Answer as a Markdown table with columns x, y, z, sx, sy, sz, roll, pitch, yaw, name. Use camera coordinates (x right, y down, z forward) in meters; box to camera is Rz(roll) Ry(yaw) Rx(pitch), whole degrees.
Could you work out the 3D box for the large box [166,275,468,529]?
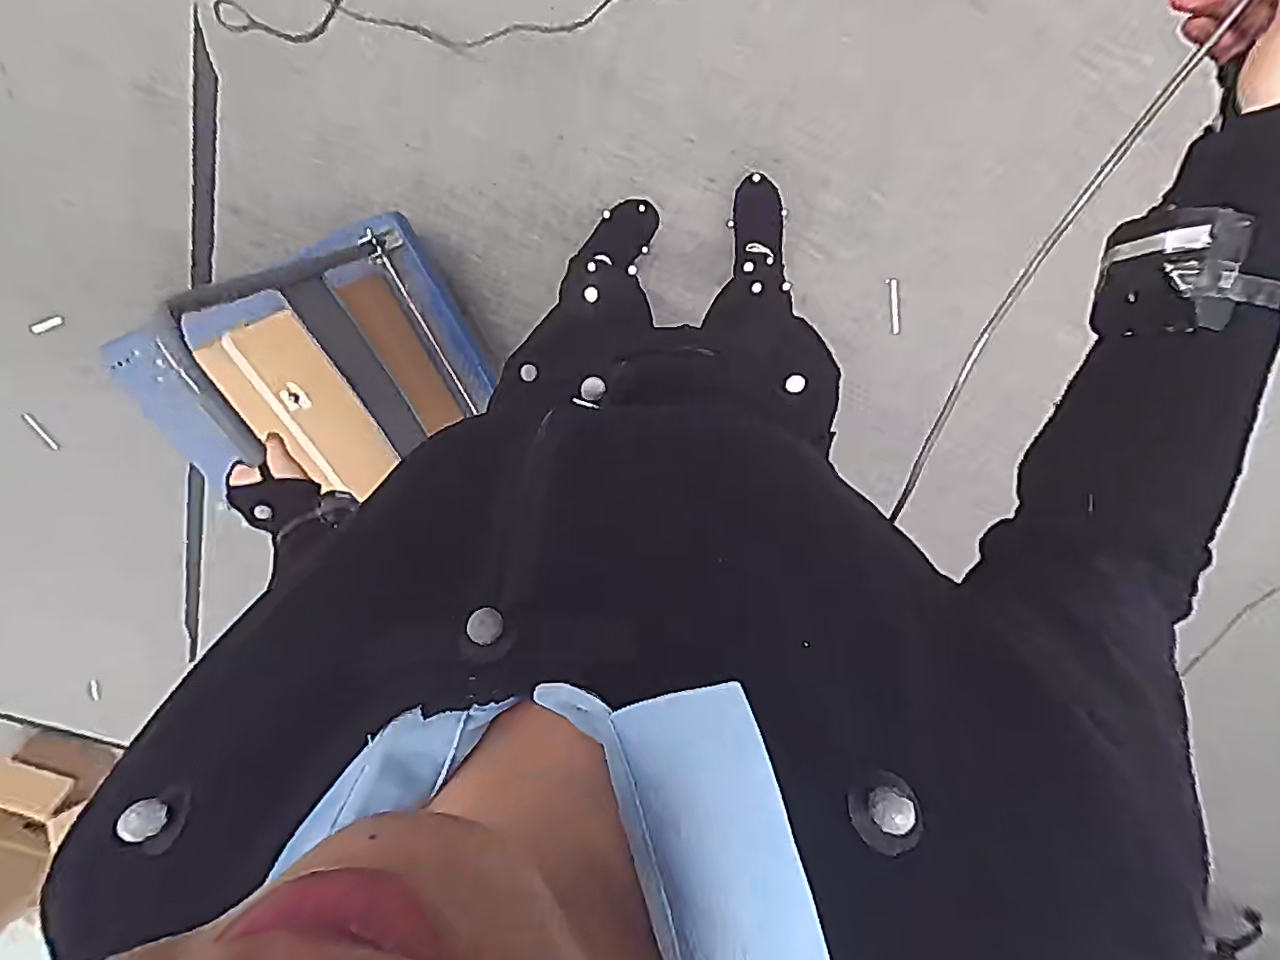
| x | y | z | sx | sy | sz | roll | pitch | yaw | name |
| --- | --- | --- | --- | --- | --- | --- | --- | --- | --- |
| -0.645 | -0.169 | 1.169 | 0.320 | 0.320 | 0.408 | -17 | 119 | 12 | large box |
